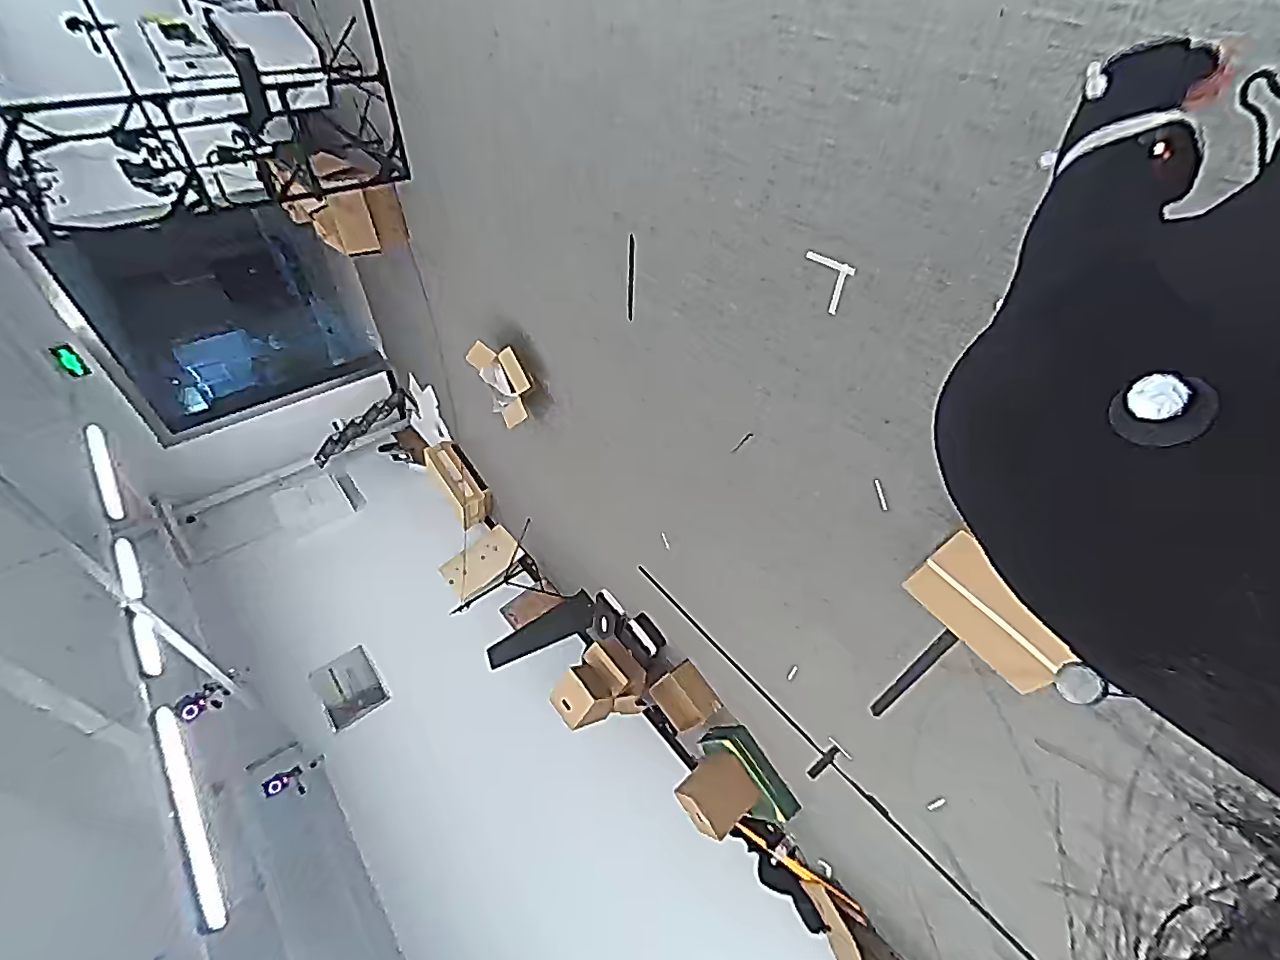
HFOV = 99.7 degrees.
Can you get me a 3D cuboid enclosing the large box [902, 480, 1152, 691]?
[{"bbox_3d":[1.035,0.278,1.482,0.408,0.320,0.320,46,149,24],"label":"large box"}]
